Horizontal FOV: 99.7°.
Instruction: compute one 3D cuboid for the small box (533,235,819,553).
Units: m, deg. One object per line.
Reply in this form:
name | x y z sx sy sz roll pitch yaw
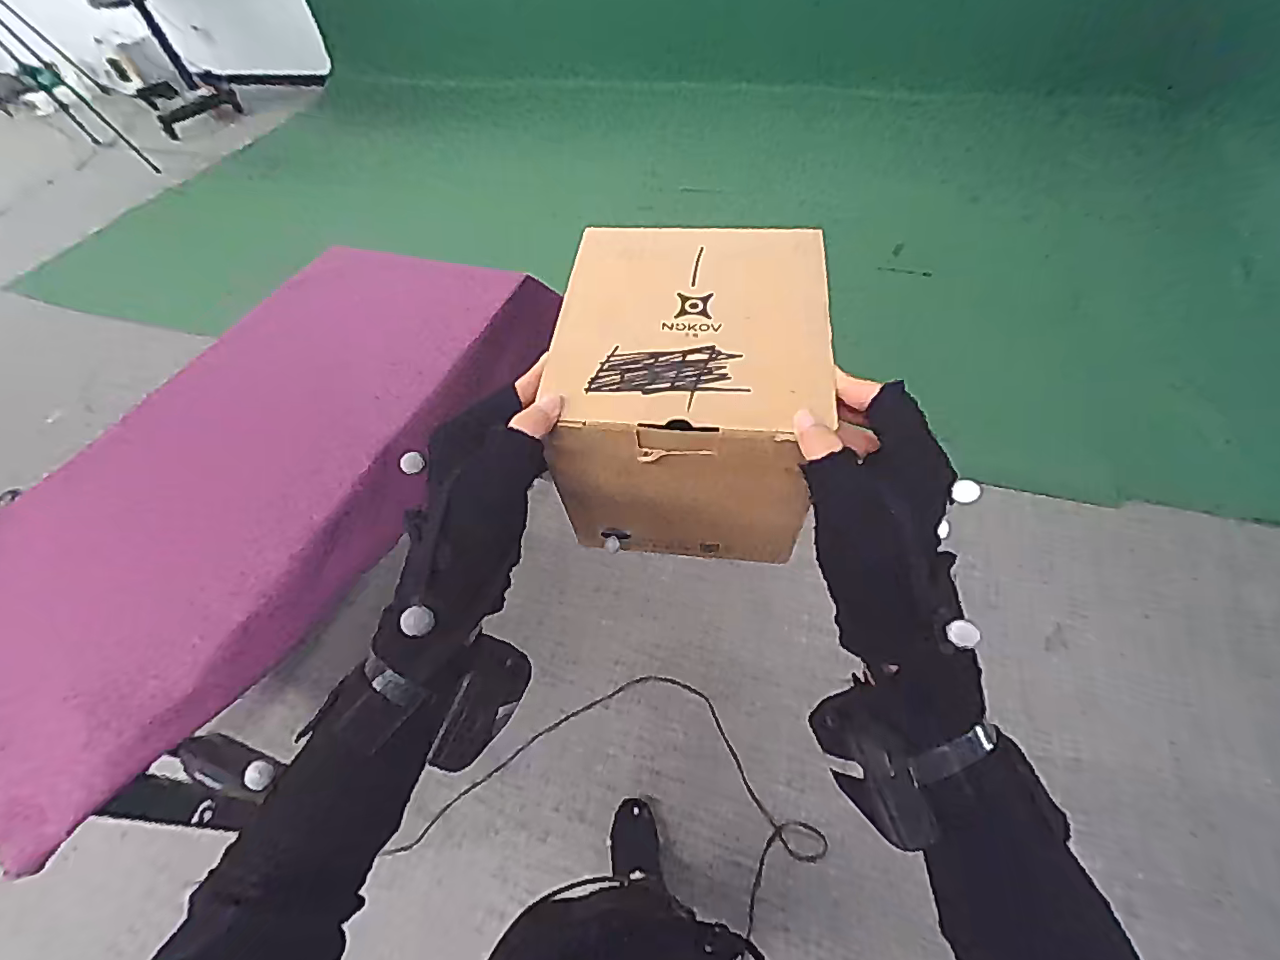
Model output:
small box | 0.035 -0.059 0.410 0.168 0.176 0.179 4 58 8
